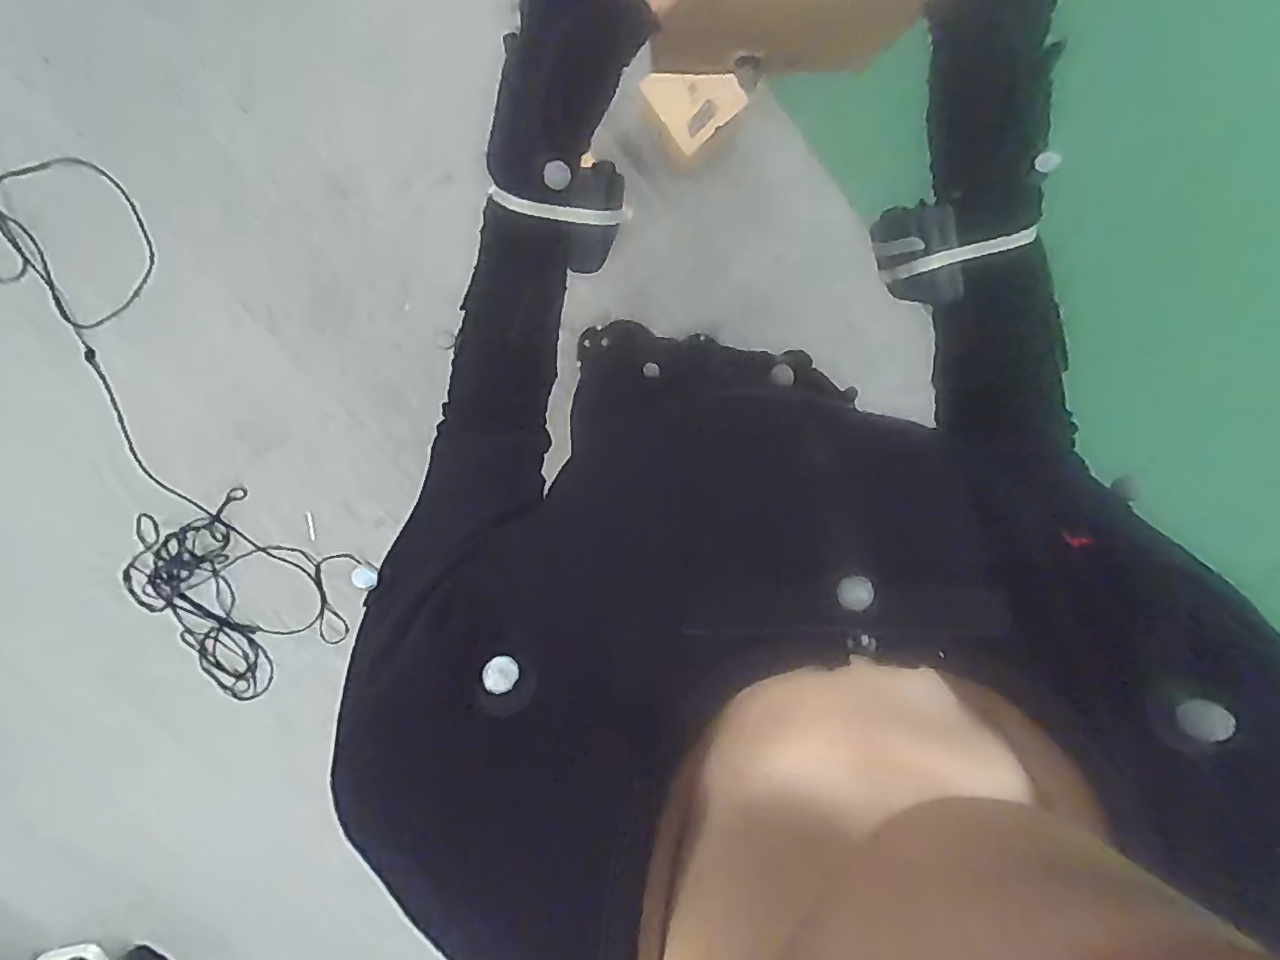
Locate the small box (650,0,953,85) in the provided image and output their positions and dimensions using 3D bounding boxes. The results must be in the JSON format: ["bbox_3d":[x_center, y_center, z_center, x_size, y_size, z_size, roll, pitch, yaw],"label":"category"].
[{"bbox_3d":[0.090,-0.359,0.312,0.168,0.176,0.179,0,112,1],"label":"small box"}]

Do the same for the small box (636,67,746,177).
[{"bbox_3d":[0.110,-0.805,1.197,0.168,0.176,0.179,-37,99,10],"label":"small box"}]

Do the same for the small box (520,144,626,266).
[{"bbox_3d":[-0.147,-0.625,1.254,0.168,0.176,0.179,-32,101,9],"label":"small box"}]
